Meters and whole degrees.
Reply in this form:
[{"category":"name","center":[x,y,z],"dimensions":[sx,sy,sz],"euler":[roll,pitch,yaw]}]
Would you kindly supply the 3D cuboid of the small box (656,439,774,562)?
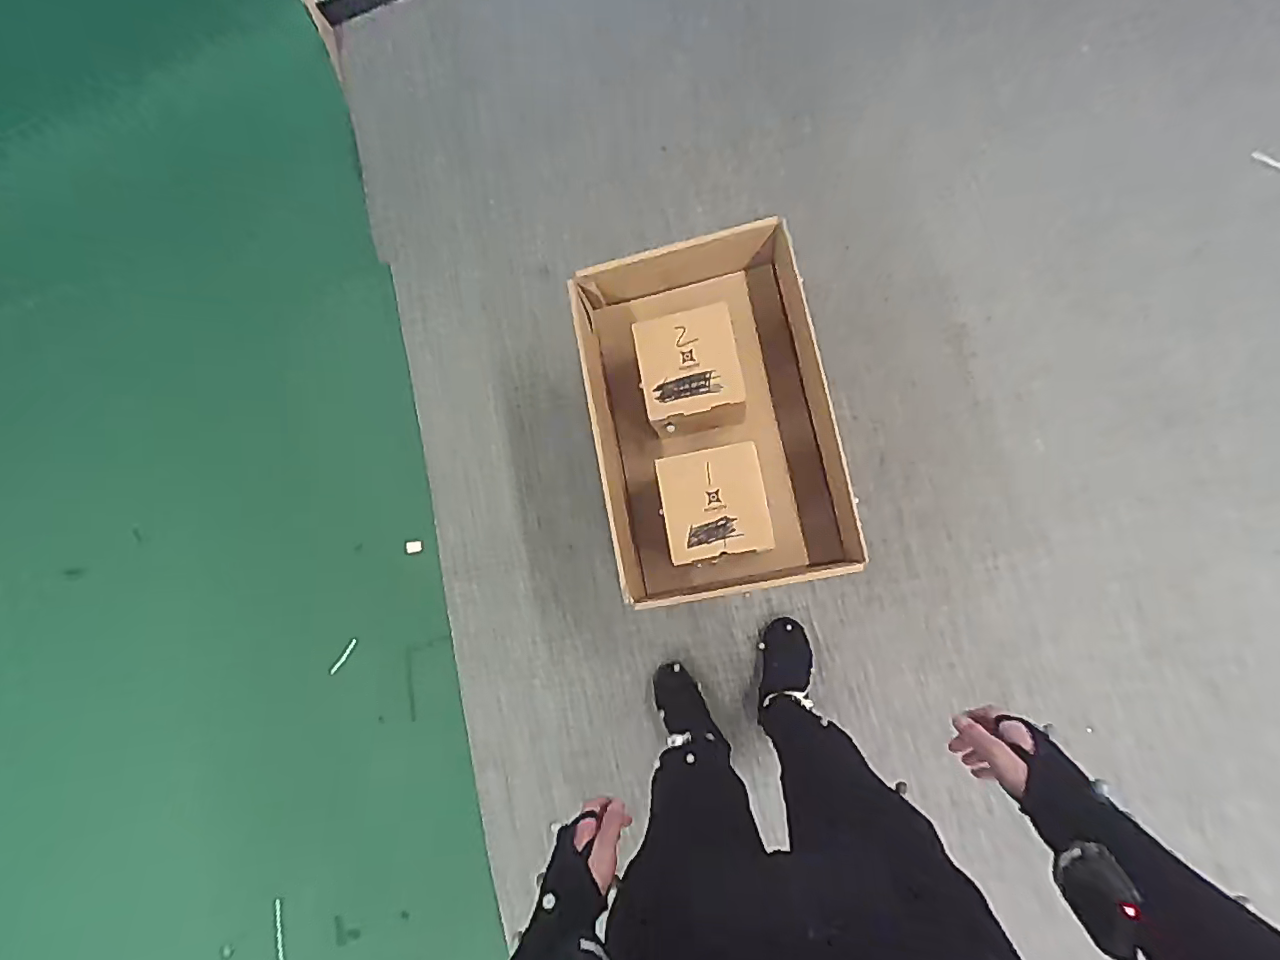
[{"category":"small box","center":[0.132,0.042,0.937],"dimensions":[0.168,0.176,0.179],"euler":[-11,80,8]}]
